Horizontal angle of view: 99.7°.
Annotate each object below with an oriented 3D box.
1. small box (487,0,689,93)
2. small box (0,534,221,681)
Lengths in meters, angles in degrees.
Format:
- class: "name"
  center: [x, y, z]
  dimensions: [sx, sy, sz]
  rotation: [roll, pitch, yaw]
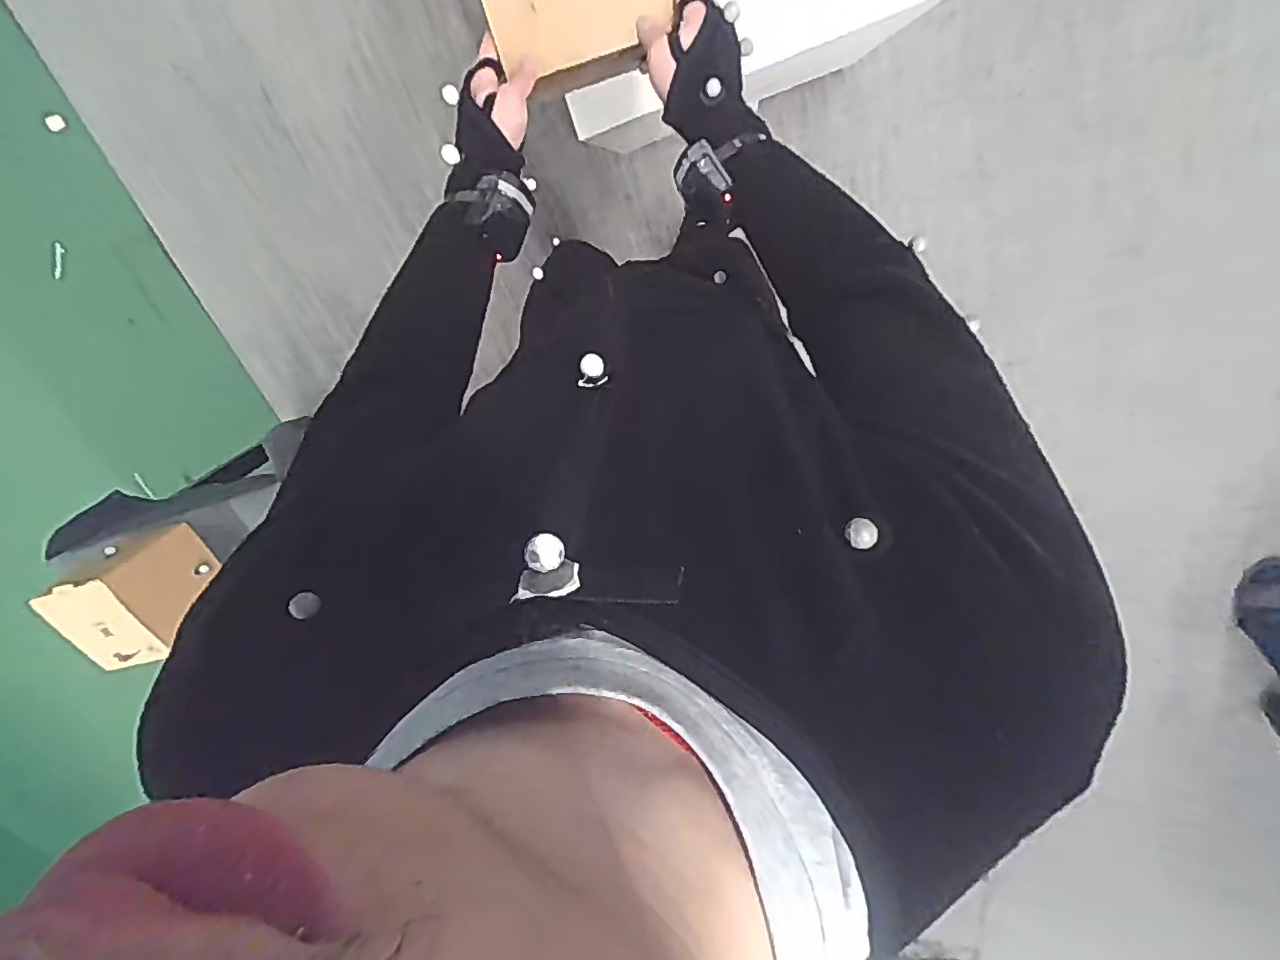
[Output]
- class: "small box"
  center: [-0.055, -0.505, 0.527]
  dimensions: [0.179, 0.176, 0.168]
  rotation: [-11, 119, 11]
- class: "small box"
  center: [-0.891, 0.209, 0.929]
  dimensions: [0.168, 0.176, 0.179]
  rotation: [-14, 117, 11]
